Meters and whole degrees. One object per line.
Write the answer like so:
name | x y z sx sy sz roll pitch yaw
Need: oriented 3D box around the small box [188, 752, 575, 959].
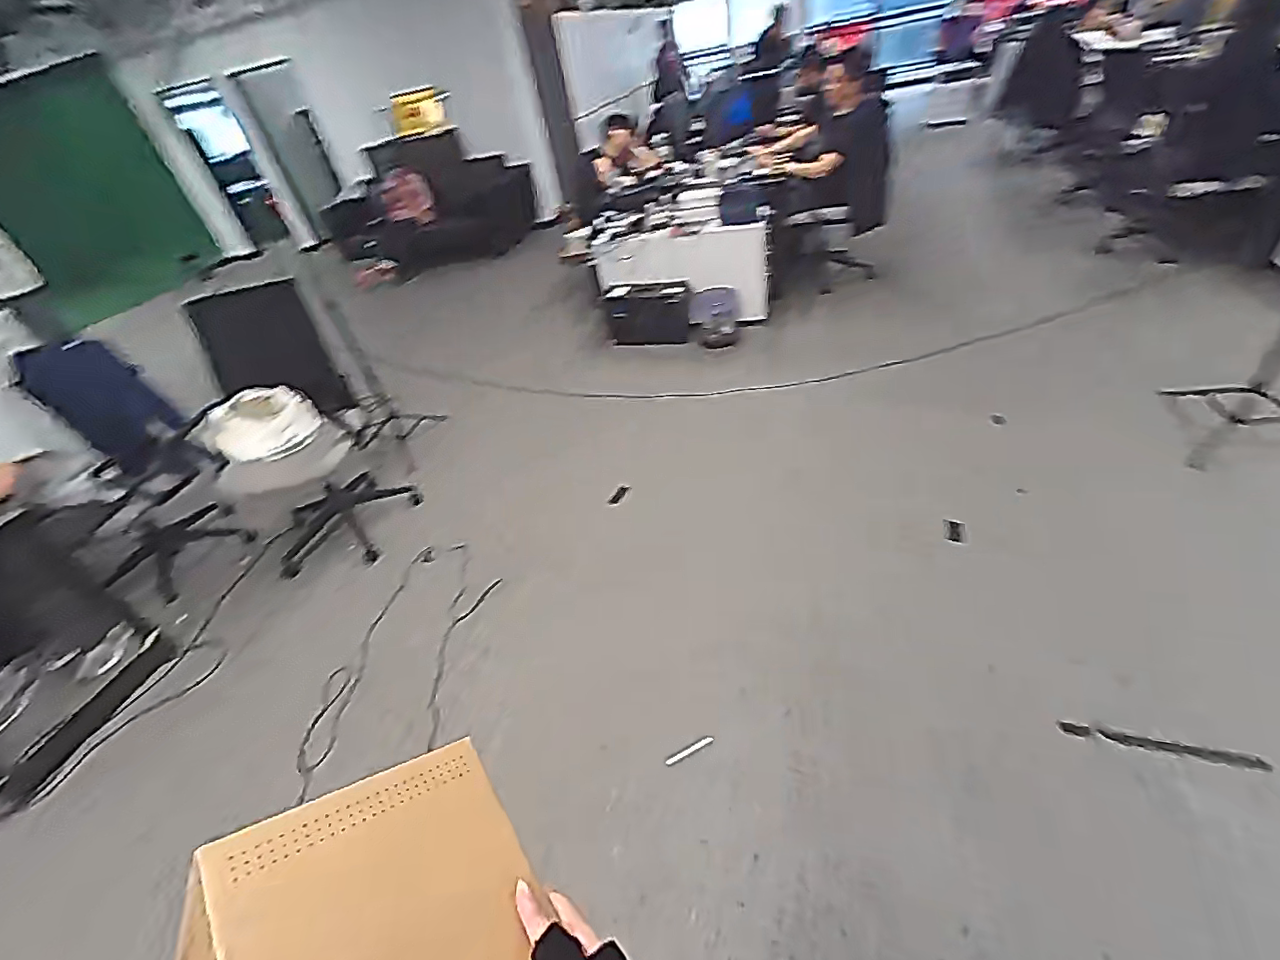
small box | -0.181 0.327 0.364 0.179 0.168 0.176 -2 41 -47
